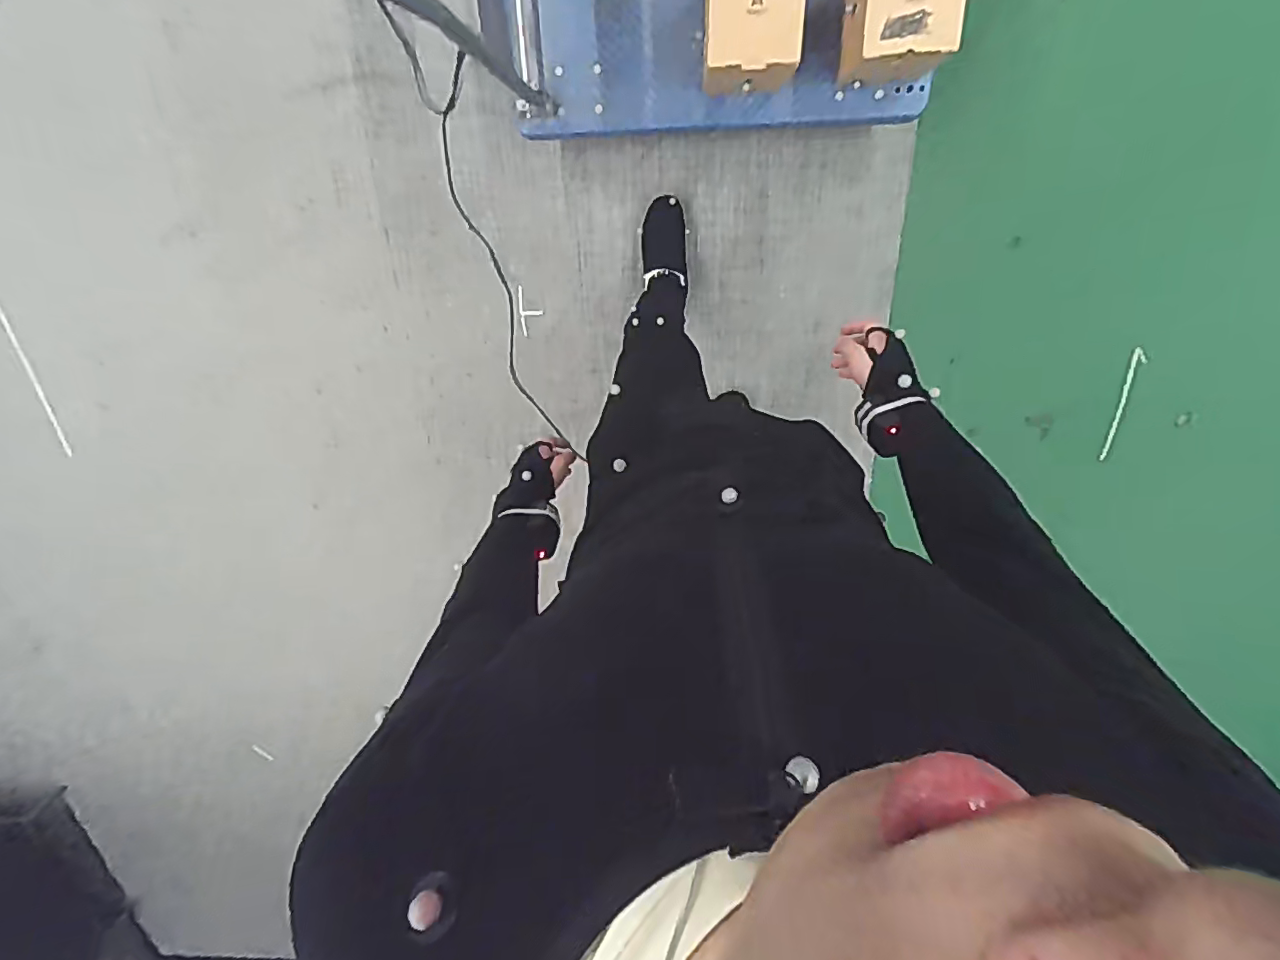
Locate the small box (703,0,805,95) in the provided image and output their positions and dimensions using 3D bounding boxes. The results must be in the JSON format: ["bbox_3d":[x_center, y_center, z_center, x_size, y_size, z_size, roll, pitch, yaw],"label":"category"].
[{"bbox_3d":[0.207,-0.841,1.011,0.168,0.176,0.179,0,113,3],"label":"small box"}]

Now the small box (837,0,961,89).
[{"bbox_3d":[0.476,-0.853,1.007,0.168,0.176,0.179,-2,112,4],"label":"small box"}]
